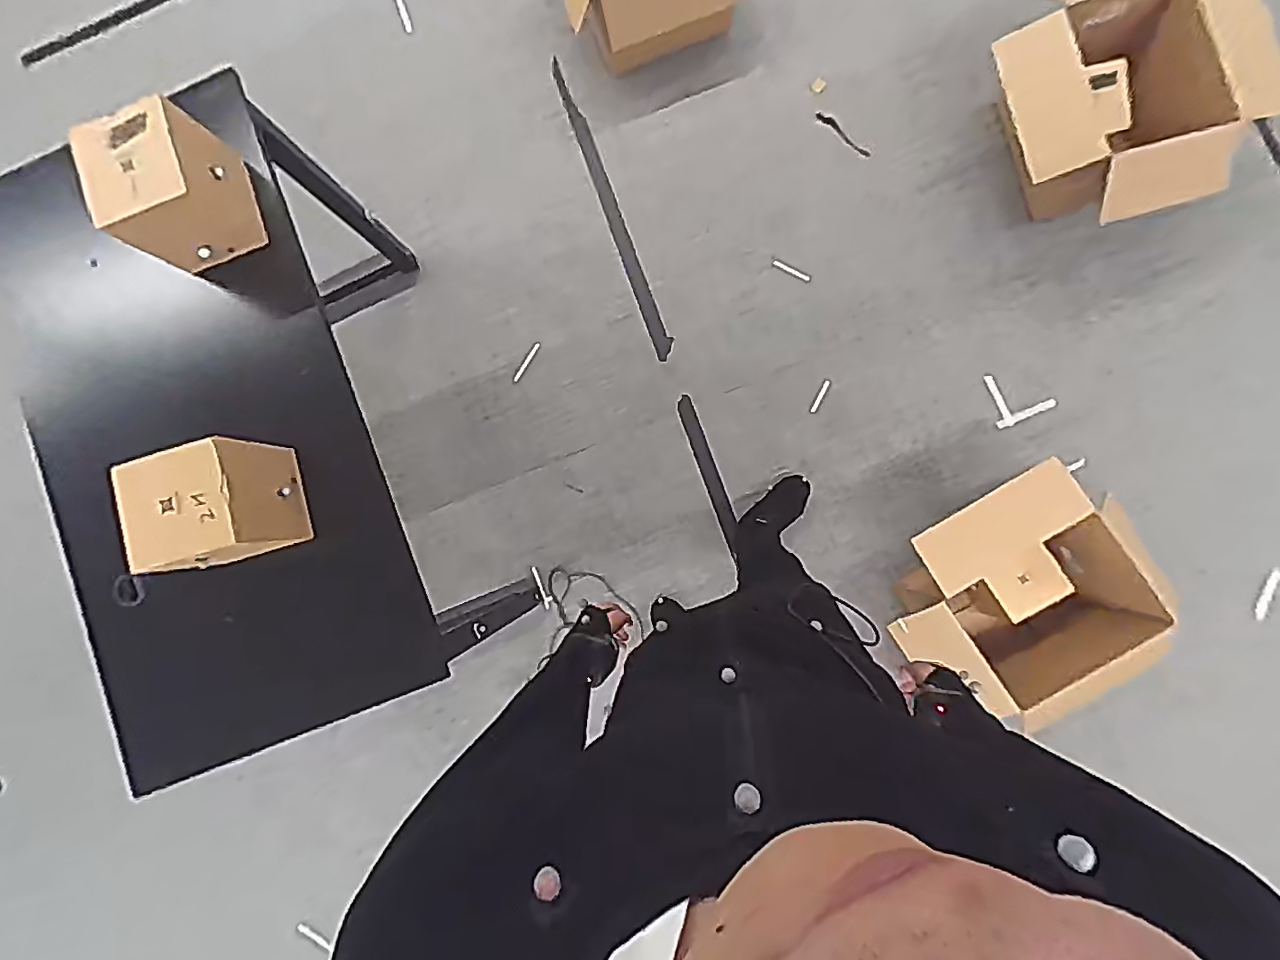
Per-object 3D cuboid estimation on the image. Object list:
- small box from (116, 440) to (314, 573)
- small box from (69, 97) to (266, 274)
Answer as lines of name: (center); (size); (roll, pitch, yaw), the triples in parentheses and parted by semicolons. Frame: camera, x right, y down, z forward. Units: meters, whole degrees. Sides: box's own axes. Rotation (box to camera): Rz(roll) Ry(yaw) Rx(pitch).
small box: (-0.679, 0.045, 0.880); (0.179, 0.176, 0.168); (-16, 86, 4)
small box: (-0.787, -0.487, 0.918); (0.168, 0.176, 0.179); (-20, 87, 4)
